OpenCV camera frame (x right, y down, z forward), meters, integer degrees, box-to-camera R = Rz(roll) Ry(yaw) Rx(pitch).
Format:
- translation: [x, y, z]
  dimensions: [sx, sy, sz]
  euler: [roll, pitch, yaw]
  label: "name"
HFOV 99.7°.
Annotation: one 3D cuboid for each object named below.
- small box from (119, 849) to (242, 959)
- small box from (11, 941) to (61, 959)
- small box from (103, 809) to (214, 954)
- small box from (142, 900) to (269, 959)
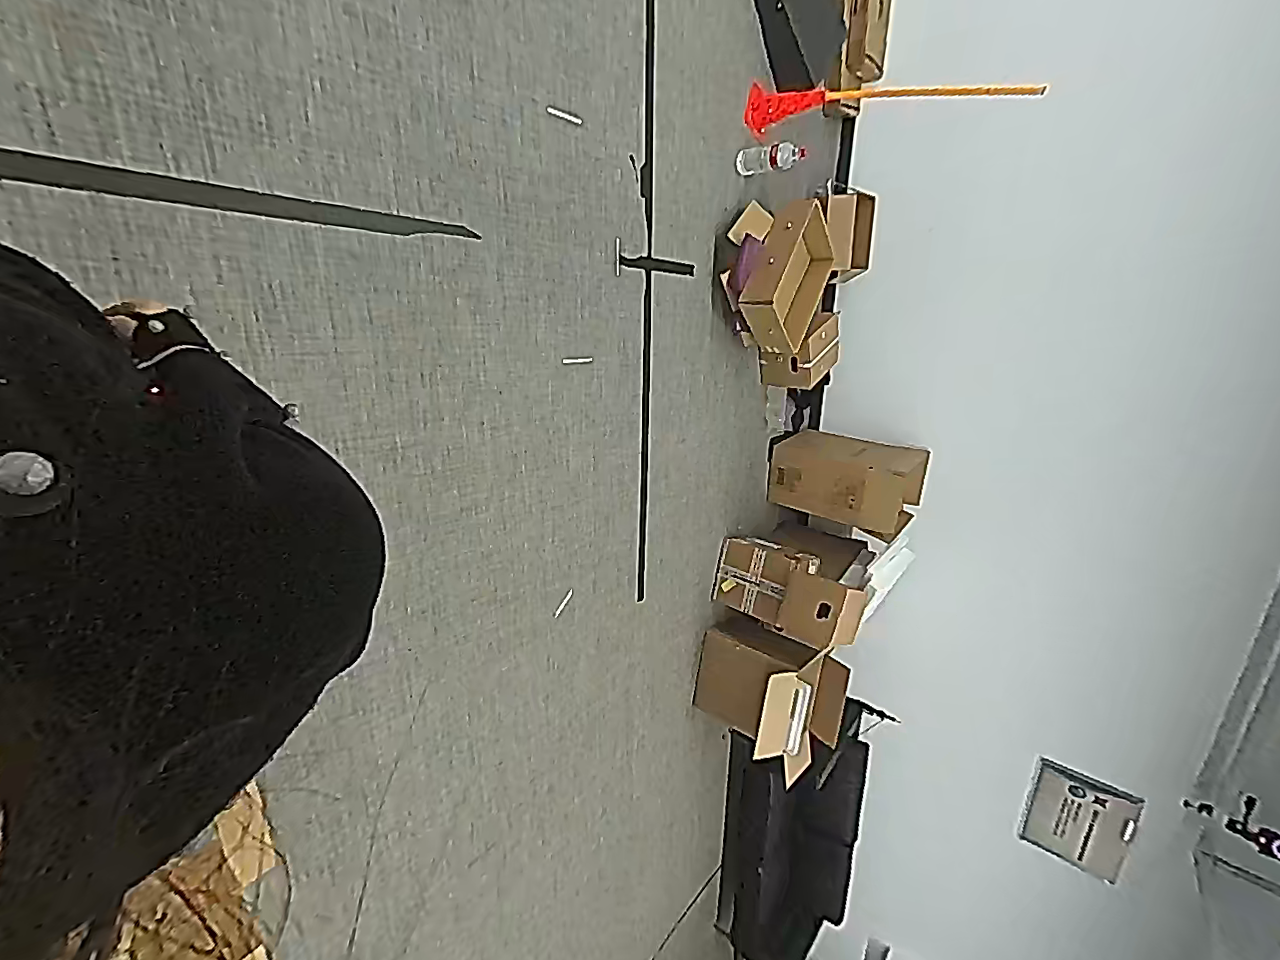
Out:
- translation: [-0.984, 0.959, 1.165]
  dimensions: [0.179, 0.176, 0.168]
  euler: [-15, 114, -50]
  label: "small box"
- translation: [-1.290, 1.115, 1.099]
  dimensions: [0.179, 0.176, 0.168]
  euler: [-27, 123, -46]
  label: "small box"
- translation: [-1.114, 0.925, 1.261]
  dimensions: [0.179, 0.176, 0.168]
  euler: [-17, 115, -50]
  label: "small box"
- translation: [-0.858, 0.996, 1.067]
  dimensions: [0.179, 0.176, 0.168]
  euler: [-20, 116, -50]
  label: "small box"
